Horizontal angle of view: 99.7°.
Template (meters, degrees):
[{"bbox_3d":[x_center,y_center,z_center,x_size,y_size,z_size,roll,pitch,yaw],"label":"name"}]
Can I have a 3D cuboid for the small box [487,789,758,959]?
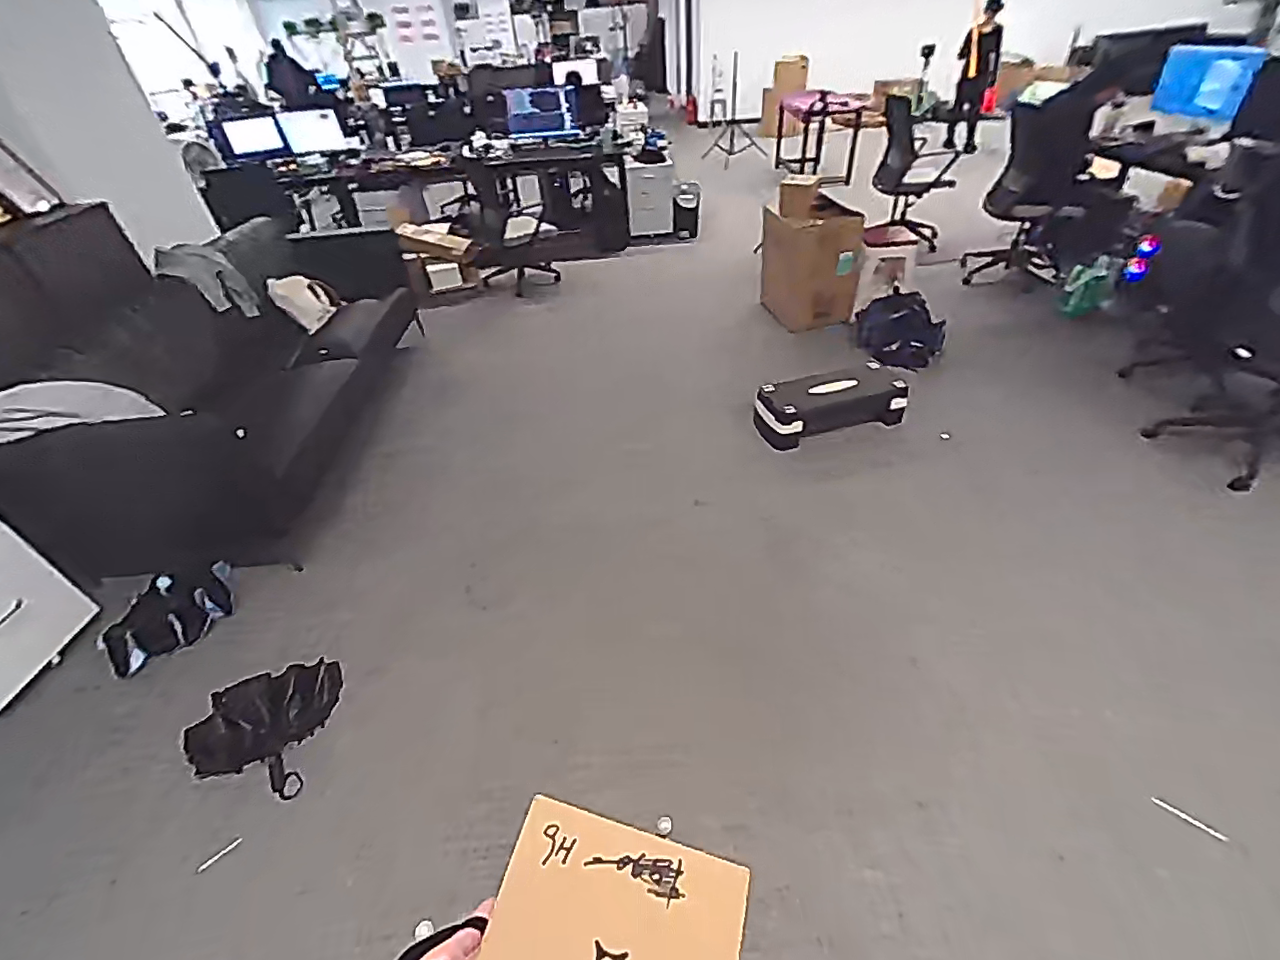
[{"bbox_3d":[-0.019,0.366,0.415,0.168,0.176,0.179,15,56,8],"label":"small box"}]
